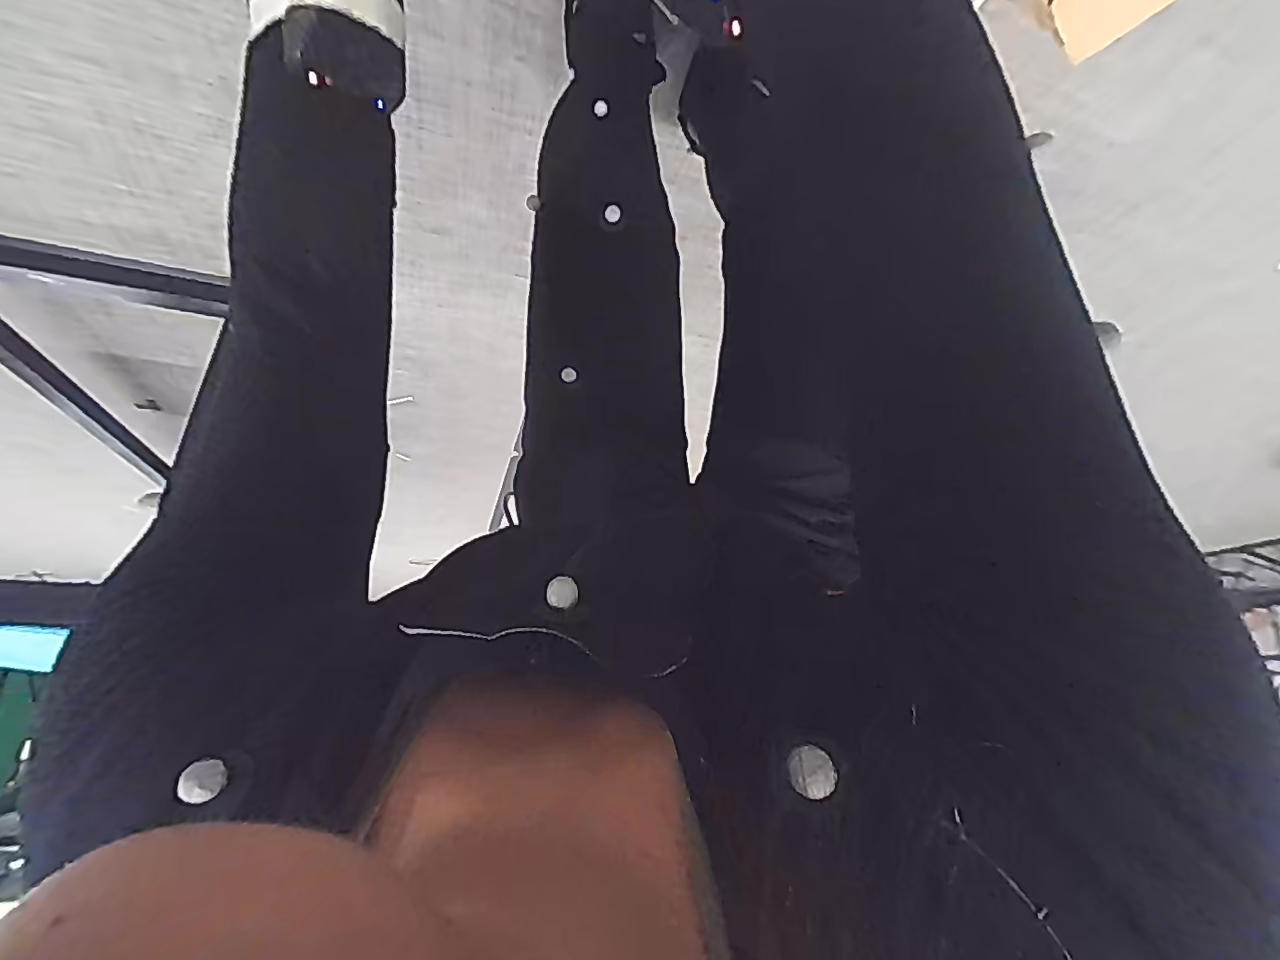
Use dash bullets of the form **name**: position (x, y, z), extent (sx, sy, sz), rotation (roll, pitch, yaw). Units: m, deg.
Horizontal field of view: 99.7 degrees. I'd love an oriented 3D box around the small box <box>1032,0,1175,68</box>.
- **small box**: position (0.384, -0.492, 0.415), extent (0.168, 0.176, 0.179), rotation (16, 152, -38)
